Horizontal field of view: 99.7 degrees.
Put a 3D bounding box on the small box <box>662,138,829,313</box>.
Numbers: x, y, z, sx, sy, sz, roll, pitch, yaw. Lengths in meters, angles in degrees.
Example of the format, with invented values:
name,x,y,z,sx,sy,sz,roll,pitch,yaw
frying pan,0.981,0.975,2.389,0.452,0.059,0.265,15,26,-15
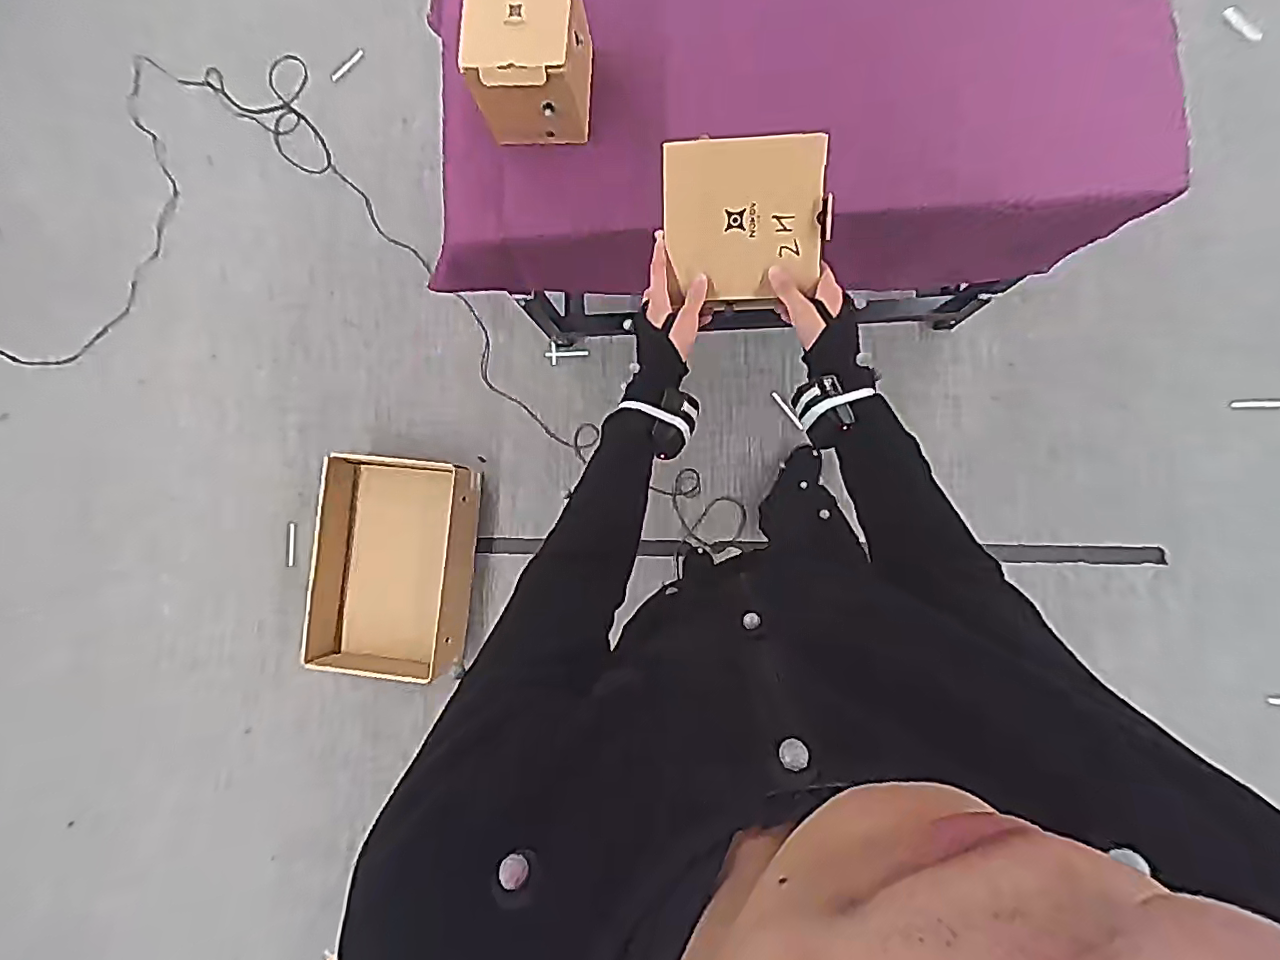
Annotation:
name,x,y,z,sx,sy,sz,roll,pitch,yaw
small box,0.120,-0.297,0.667,0.179,0.176,0.168,0,104,5

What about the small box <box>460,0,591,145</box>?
name,x,y,z,sx,sy,sz,roll,pitch,yaw
small box,-0.177,-0.682,0.886,0.168,0.176,0.179,3,87,5
